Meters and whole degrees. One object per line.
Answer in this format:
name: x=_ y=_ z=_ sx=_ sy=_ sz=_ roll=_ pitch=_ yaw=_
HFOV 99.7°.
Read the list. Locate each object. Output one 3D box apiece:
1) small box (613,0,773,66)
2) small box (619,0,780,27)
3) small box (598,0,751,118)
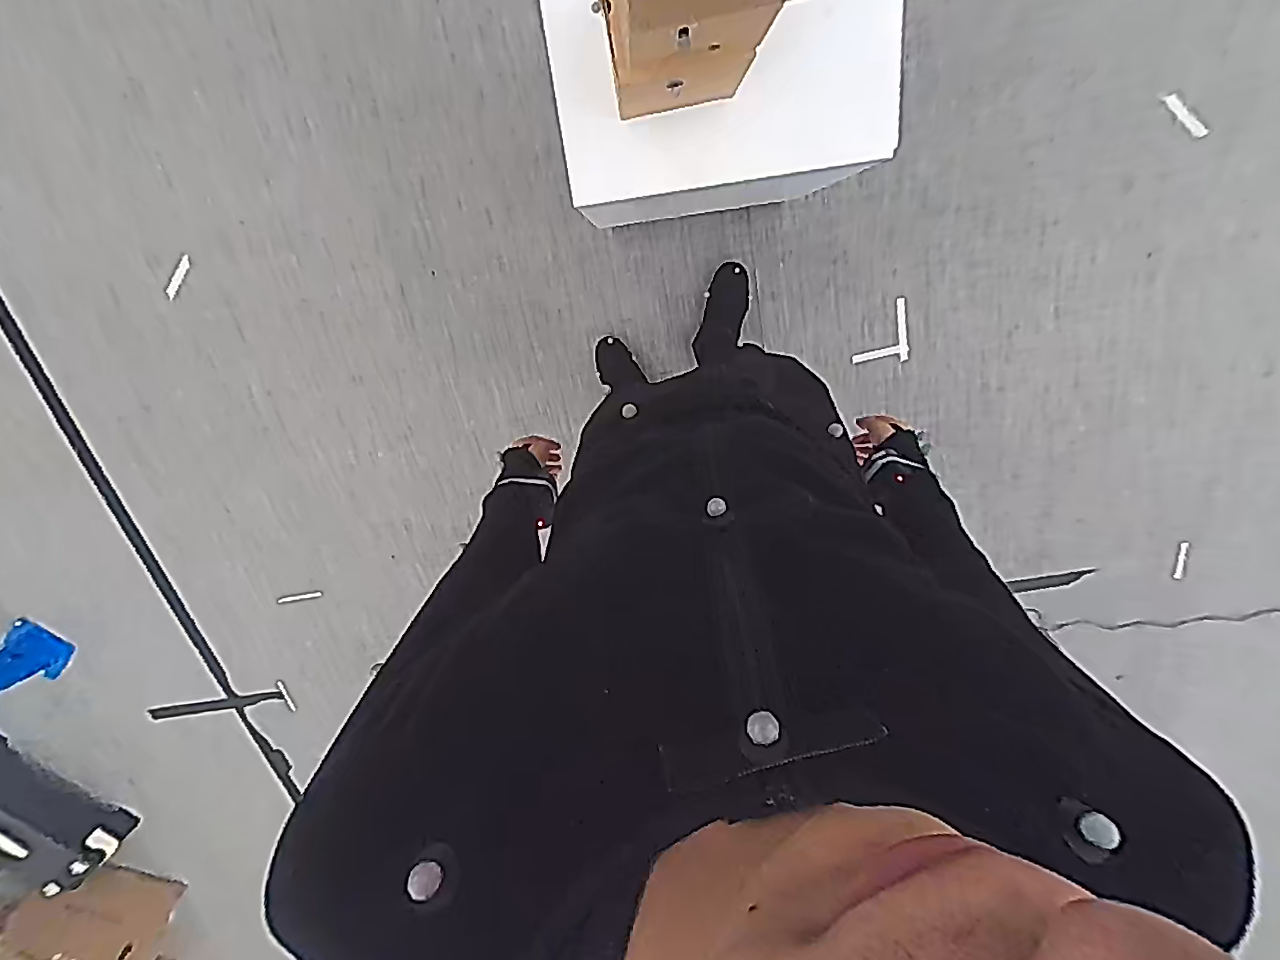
small box: x=0.050 y=-0.563 z=0.559 sx=0.168 sy=0.176 sz=0.179 roll=-9 pitch=110 yaw=3
small box: x=0.056 y=-0.487 z=0.411 sx=0.179 sy=0.176 sz=0.168 roll=-9 pitch=111 yaw=3
small box: x=0.038 y=-0.607 z=0.715 sx=0.179 sy=0.176 sz=0.168 roll=-11 pitch=111 yaw=2
